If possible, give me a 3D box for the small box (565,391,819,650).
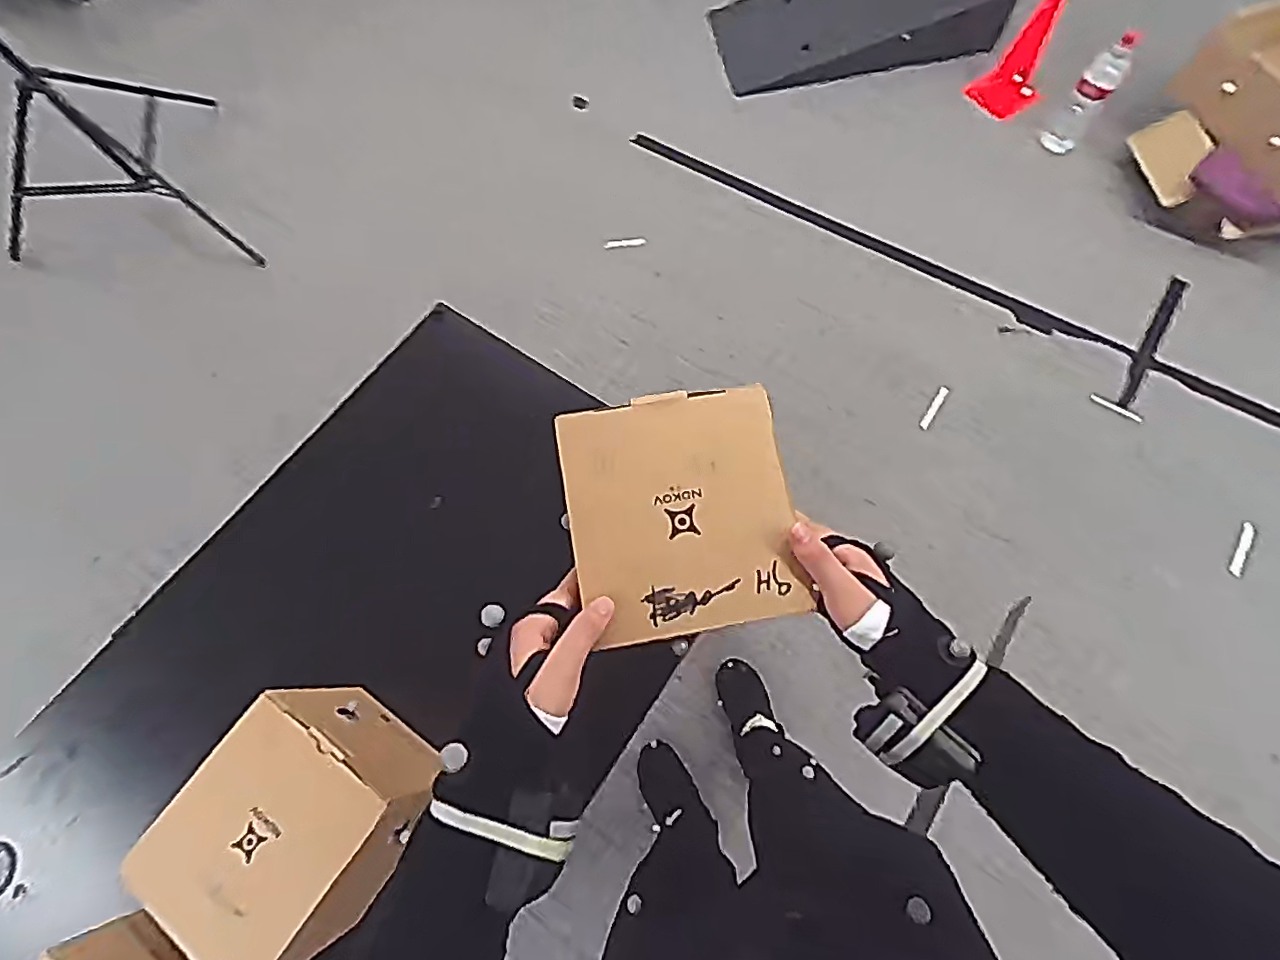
[{"bbox_3d":[0.033,0.043,0.475,0.168,0.176,0.179,-9,78,-2],"label":"small box"}]

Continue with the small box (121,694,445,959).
[{"bbox_3d":[-0.322,0.332,0.535,0.168,0.176,0.179,30,75,14],"label":"small box"}]
